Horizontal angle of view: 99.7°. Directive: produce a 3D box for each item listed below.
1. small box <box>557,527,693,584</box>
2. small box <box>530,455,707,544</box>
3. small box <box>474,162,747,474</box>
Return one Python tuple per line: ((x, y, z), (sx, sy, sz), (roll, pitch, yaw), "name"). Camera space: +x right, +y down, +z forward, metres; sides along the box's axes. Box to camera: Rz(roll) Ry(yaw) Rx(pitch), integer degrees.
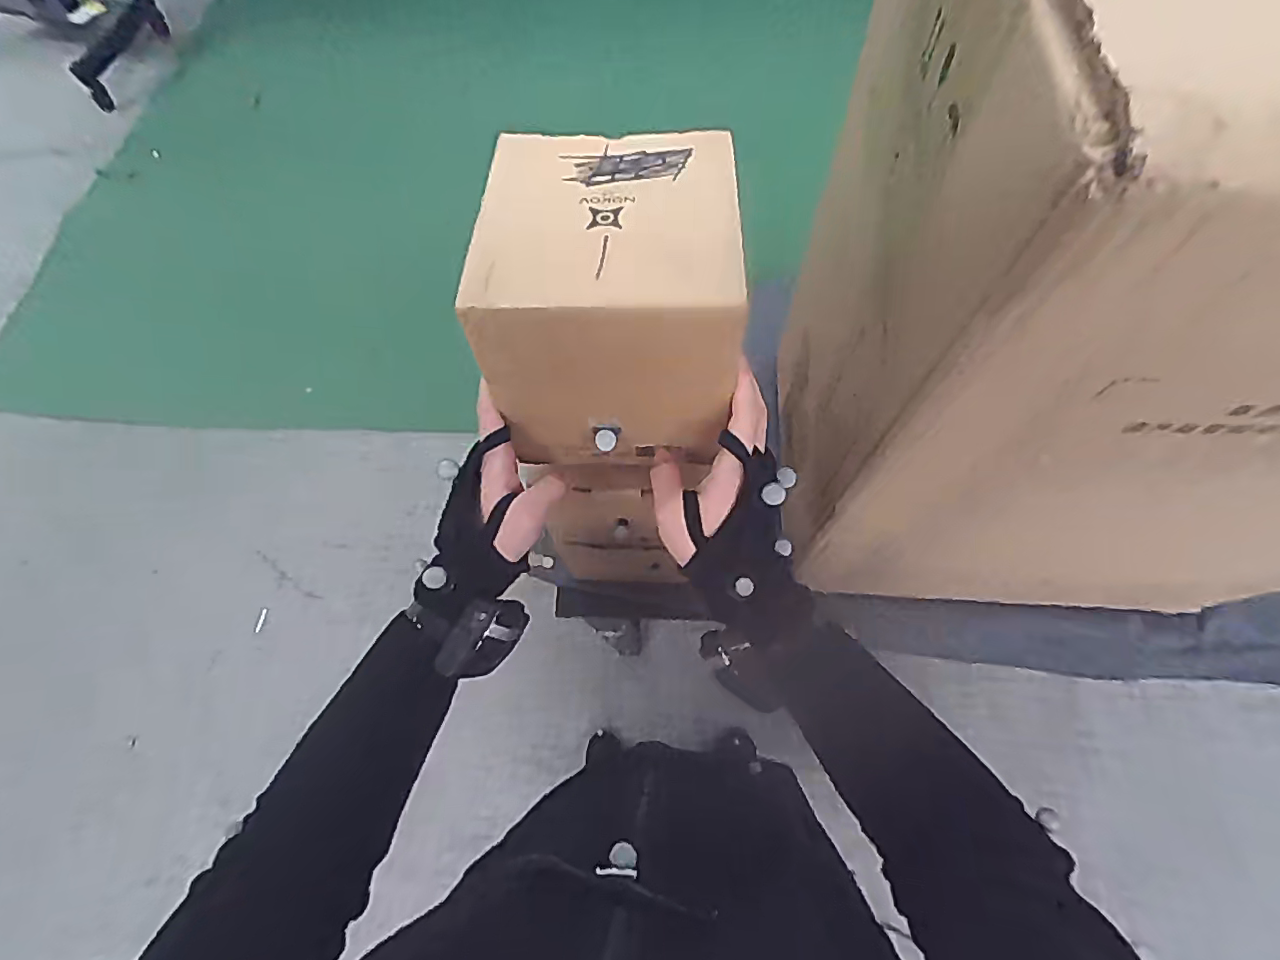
((-0.011, 0.039, 0.739), (0.168, 0.176, 0.179), (1, 64, 2), "small box")
((-0.013, -0.035, 0.592), (0.168, 0.176, 0.179), (1, 66, 2), "small box")
((-0.013, -0.123, 0.430), (0.168, 0.176, 0.179), (0, 57, 3), "small box")
